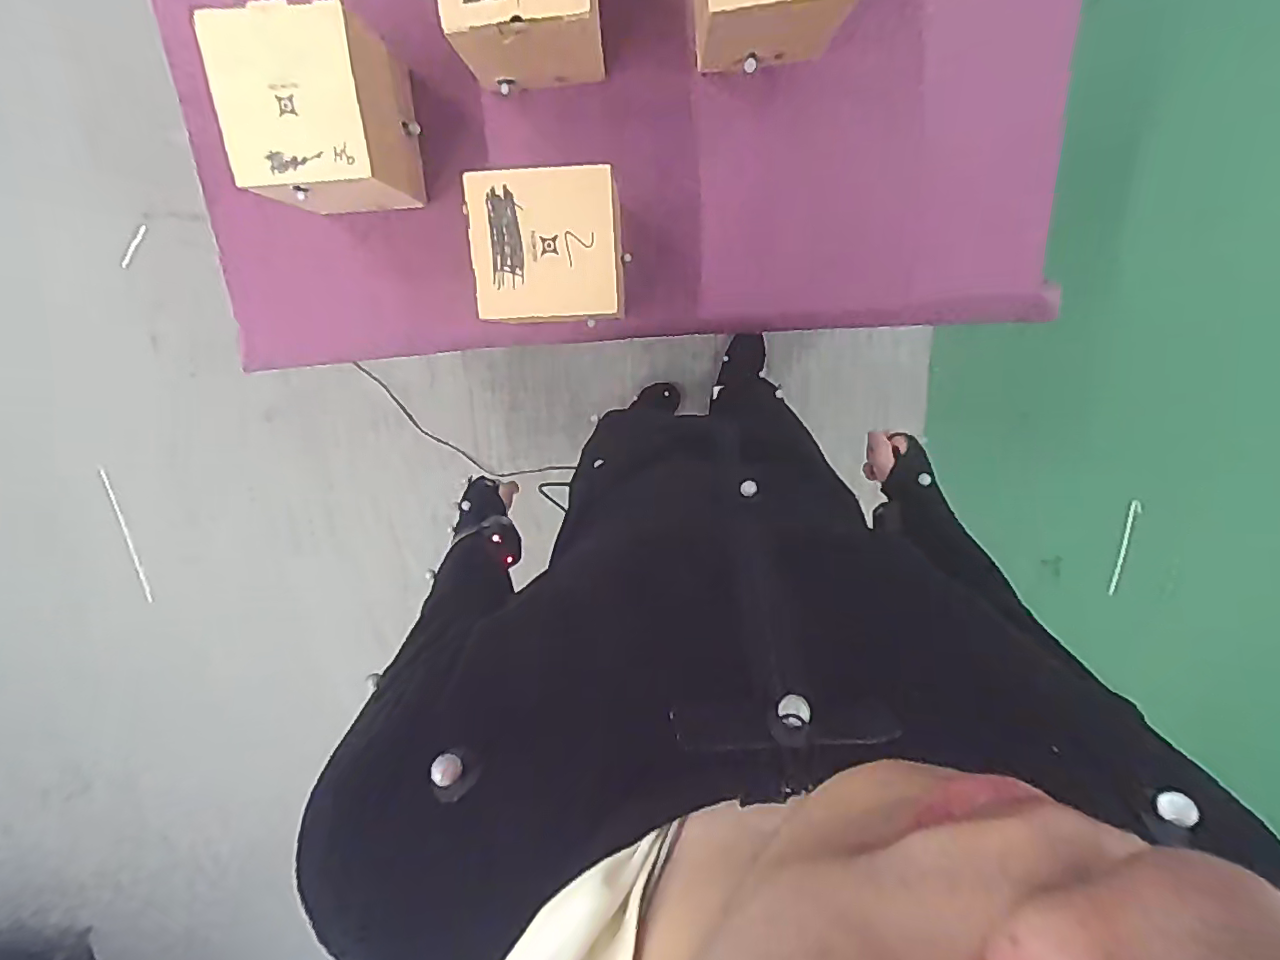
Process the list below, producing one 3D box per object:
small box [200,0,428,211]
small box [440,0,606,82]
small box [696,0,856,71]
[{"bbox_3d":[-0.389,-0.456,0.681,0.168,0.176,0.179,-2,106,4],"label":"small box"},{"bbox_3d":[-0.134,-0.599,0.634,0.168,0.176,0.179,-4,106,3],"label":"small box"},{"bbox_3d":[0.150,-0.614,0.621,0.168,0.176,0.179,-4,107,4],"label":"small box"}]
